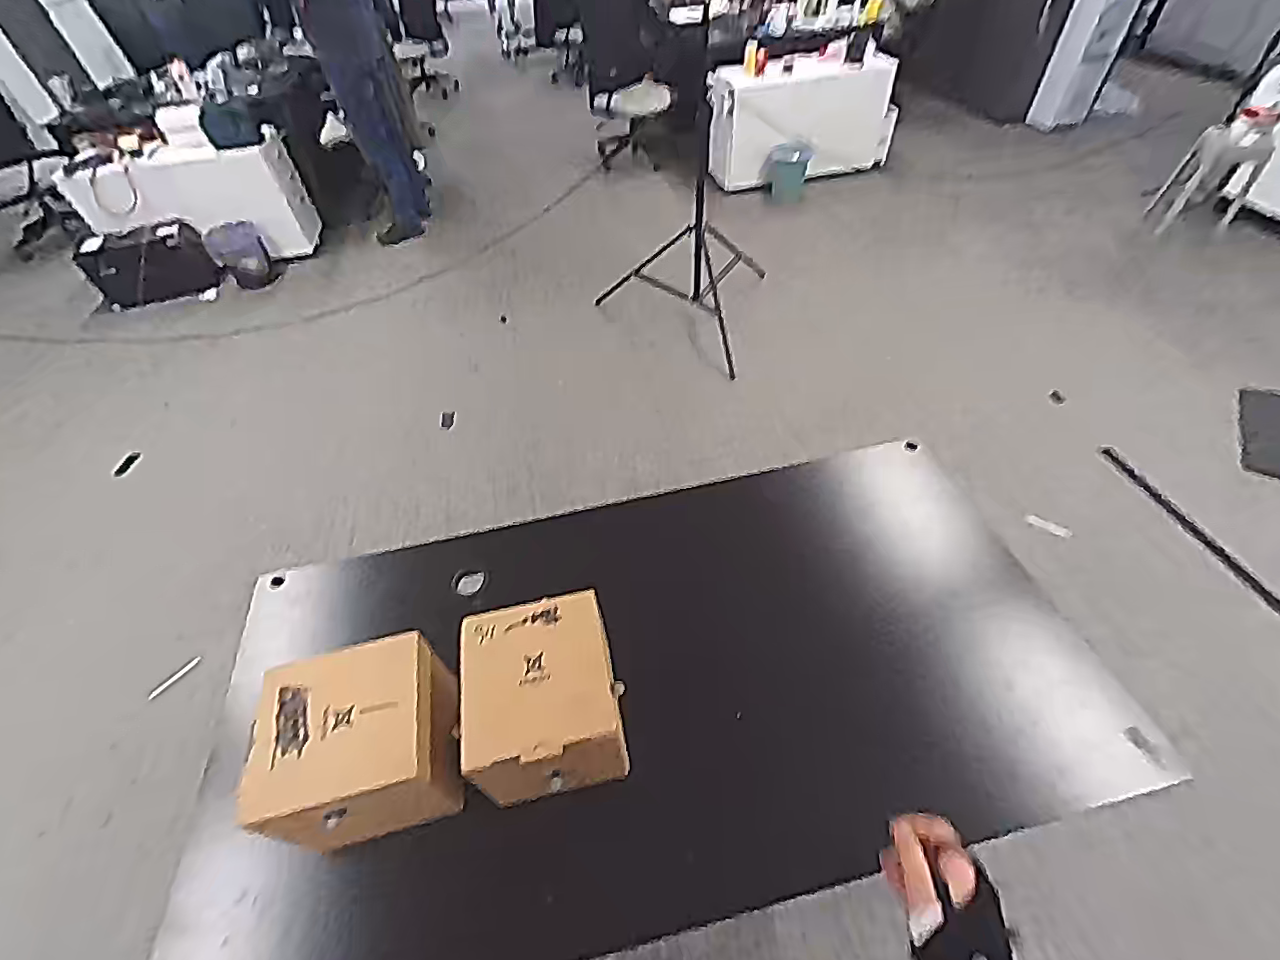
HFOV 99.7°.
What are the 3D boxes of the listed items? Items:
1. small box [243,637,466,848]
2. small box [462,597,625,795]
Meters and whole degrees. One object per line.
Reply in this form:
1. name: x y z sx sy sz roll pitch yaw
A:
1. small box: -0.325 0.321 0.656 0.179 0.176 0.168 -13 49 -8
2. small box: -0.116 0.276 0.680 0.168 0.176 0.179 -10 49 -6
